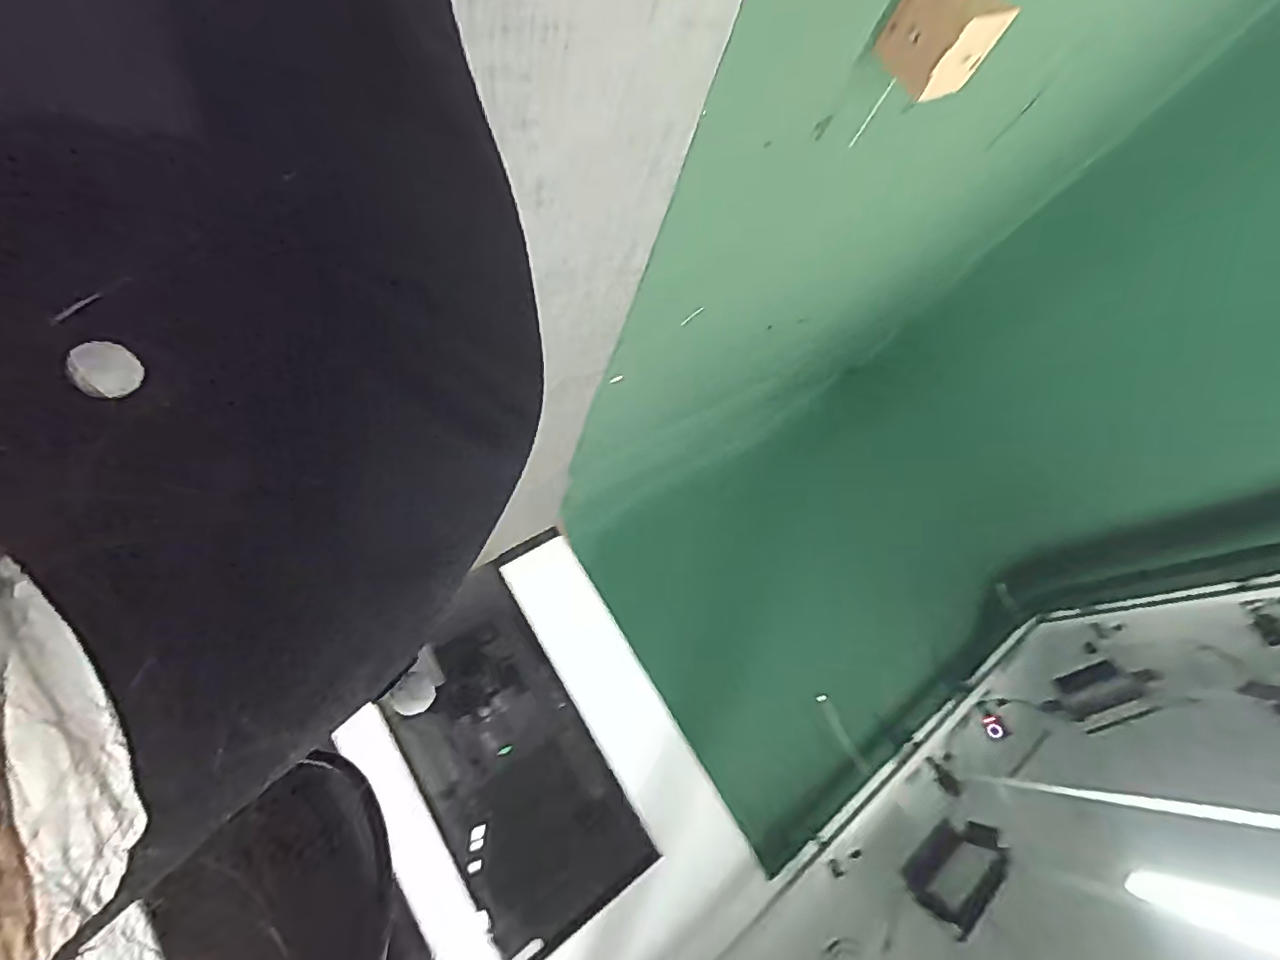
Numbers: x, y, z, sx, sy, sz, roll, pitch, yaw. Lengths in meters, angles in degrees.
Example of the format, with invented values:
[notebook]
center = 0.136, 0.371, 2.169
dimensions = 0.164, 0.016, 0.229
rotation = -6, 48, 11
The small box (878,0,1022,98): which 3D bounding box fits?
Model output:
[small box]
center = 0.665, -0.980, 1.180
dimensions = 0.179, 0.176, 0.168
rotation = -27, 168, -23
